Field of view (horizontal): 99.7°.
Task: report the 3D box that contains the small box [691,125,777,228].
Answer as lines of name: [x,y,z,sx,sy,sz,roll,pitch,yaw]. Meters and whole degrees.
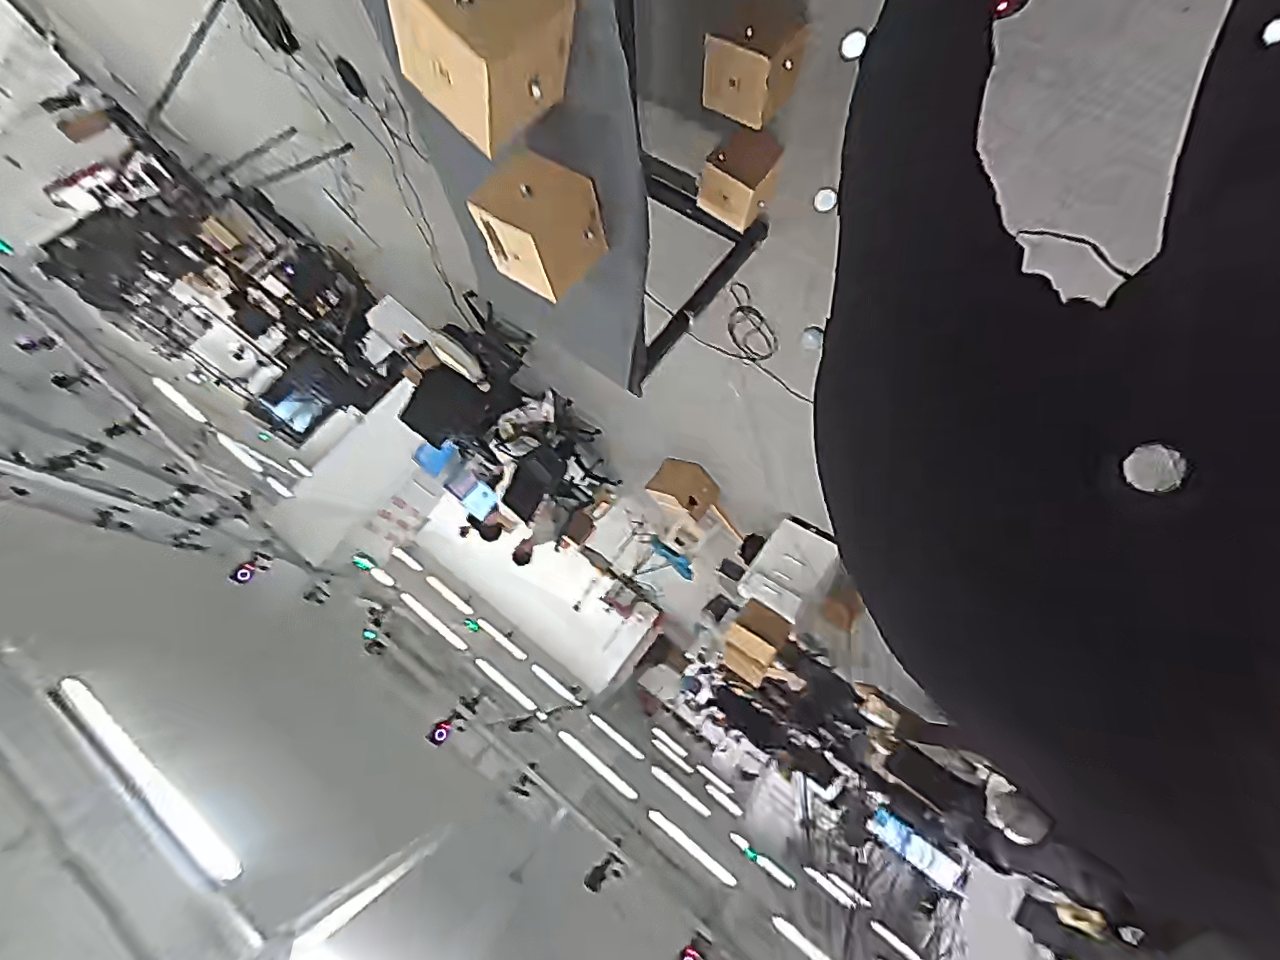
small box: [0.276,-0.900,1.599,0.179,0.176,0.168,37,165,8]

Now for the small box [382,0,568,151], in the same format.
small box: [-0.221,-0.615,0.742,0.179,0.176,0.168,43,165,-7]

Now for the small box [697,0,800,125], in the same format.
small box: [0.258,-1.011,1.301,0.179,0.176,0.168,35,164,15]
